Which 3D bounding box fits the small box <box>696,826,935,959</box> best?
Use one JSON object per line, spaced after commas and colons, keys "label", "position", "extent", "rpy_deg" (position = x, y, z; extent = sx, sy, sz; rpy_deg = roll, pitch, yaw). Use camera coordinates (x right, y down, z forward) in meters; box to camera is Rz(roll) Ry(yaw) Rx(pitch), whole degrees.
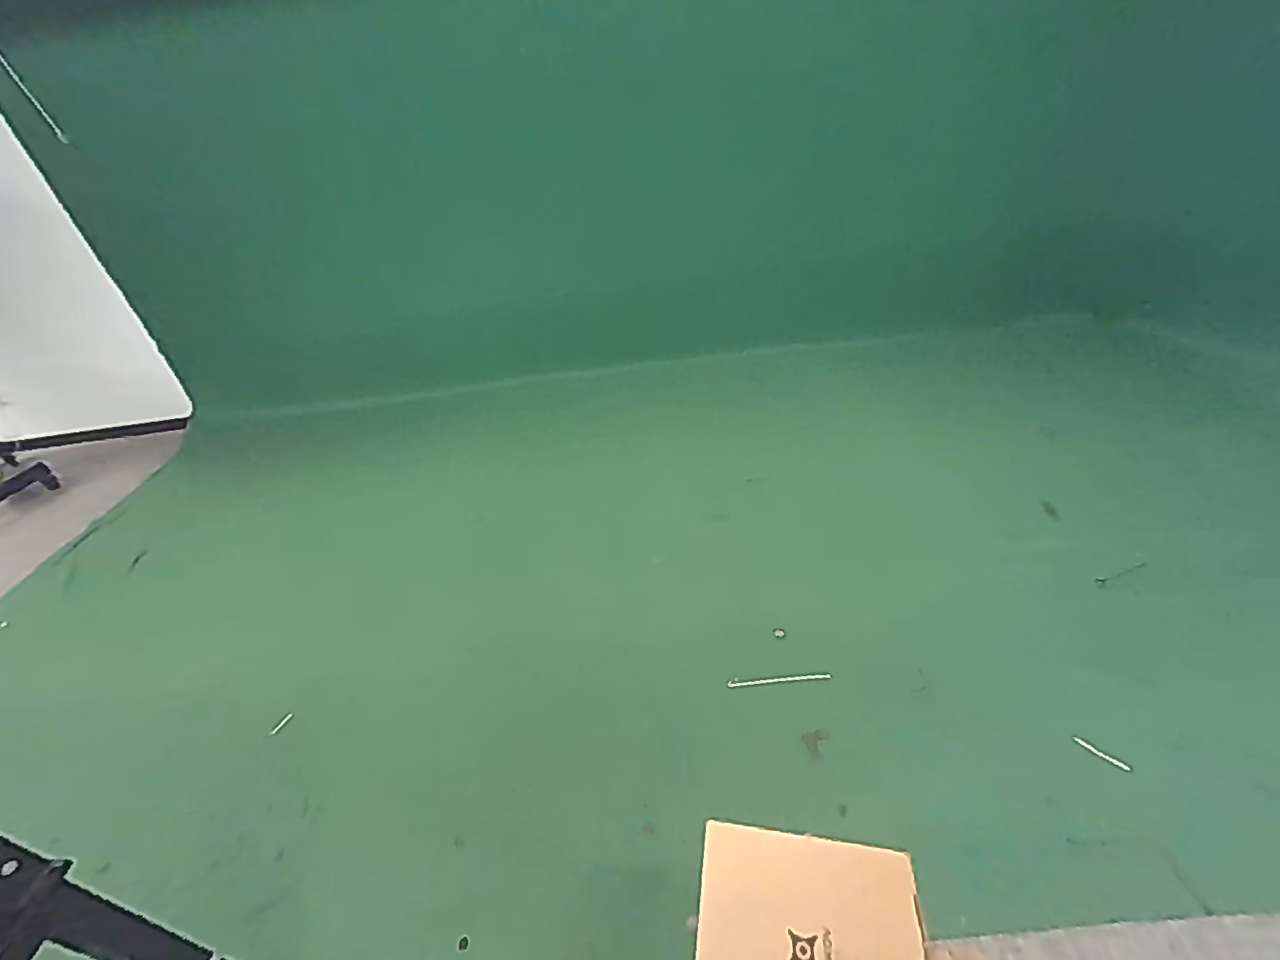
{"label": "small box", "position": [0.138, 0.426, 0.448], "extent": [0.179, 0.176, 0.168], "rpy_deg": [3, 35, 12]}
